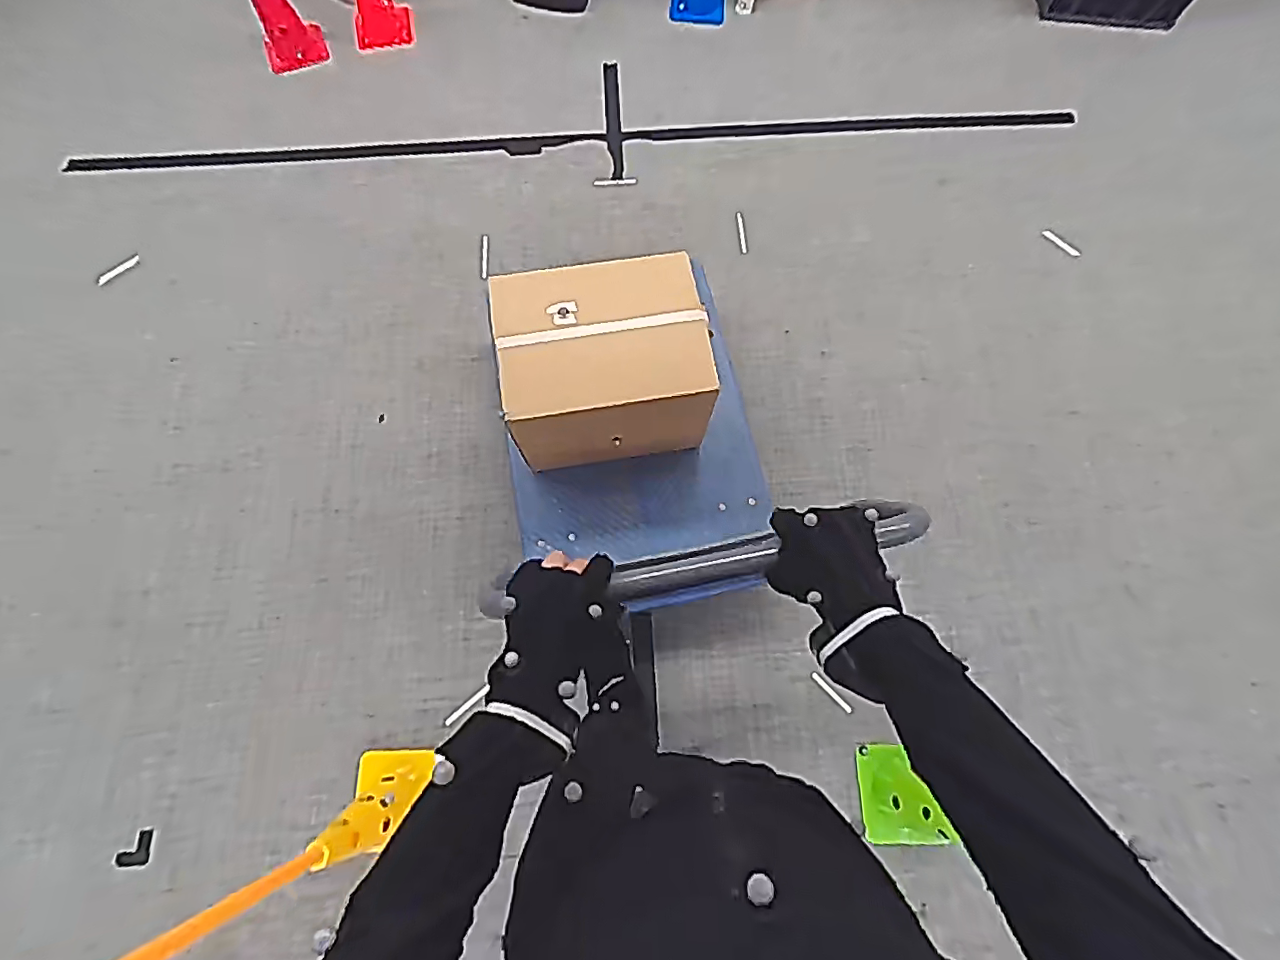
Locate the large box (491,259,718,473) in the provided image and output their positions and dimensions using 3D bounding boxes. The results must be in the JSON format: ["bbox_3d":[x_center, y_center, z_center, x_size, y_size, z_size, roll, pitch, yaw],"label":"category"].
[{"bbox_3d":[-0.075,-0.230,1.183,0.408,0.320,0.320,-9,74,-3],"label":"large box"}]

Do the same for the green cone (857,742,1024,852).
[{"bbox_3d":[0.607,0.654,1.066,0.202,0.368,0.200,1,72,-2],"label":"green cone"}]
